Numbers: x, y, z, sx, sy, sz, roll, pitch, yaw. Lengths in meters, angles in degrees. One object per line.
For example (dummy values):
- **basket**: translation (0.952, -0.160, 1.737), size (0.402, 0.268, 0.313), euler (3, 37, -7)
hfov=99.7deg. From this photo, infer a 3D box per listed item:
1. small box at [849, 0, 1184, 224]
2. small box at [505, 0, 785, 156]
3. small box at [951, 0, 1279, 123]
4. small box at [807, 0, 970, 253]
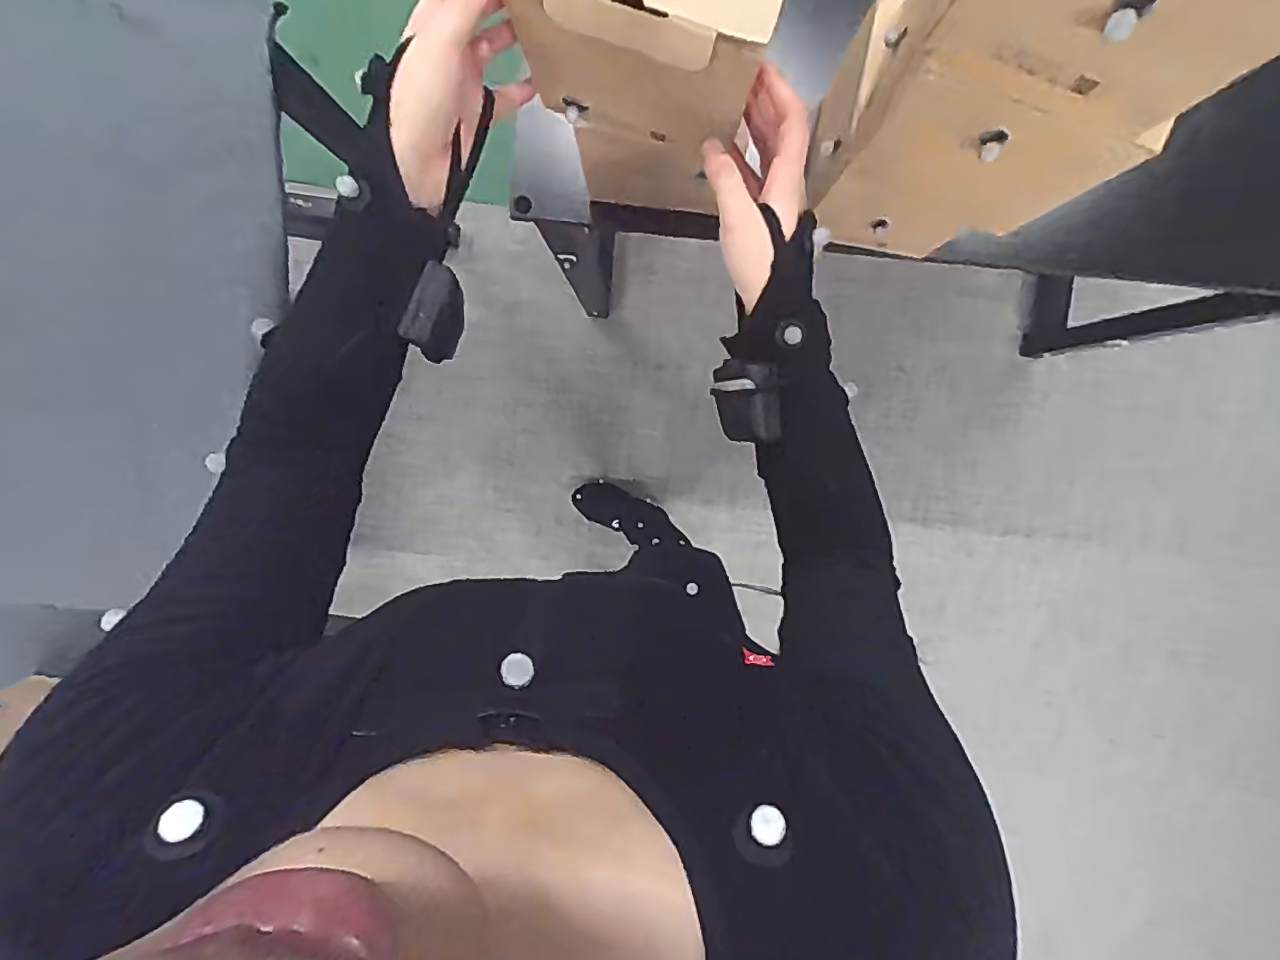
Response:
- **small box**: translation (0.305, -0.334, 0.440), size (0.179, 0.176, 0.168), euler (19, 97, -1)
- **small box**: translation (0.021, -0.356, 0.364), size (0.168, 0.176, 0.179), euler (17, 101, -3)
- **small box**: translation (0.298, -0.331, 0.276), size (0.168, 0.176, 0.179), euler (21, 97, 0)
- **small box**: translation (0.298, -0.372, 0.599), size (0.168, 0.176, 0.179), euler (10, 96, 0)
